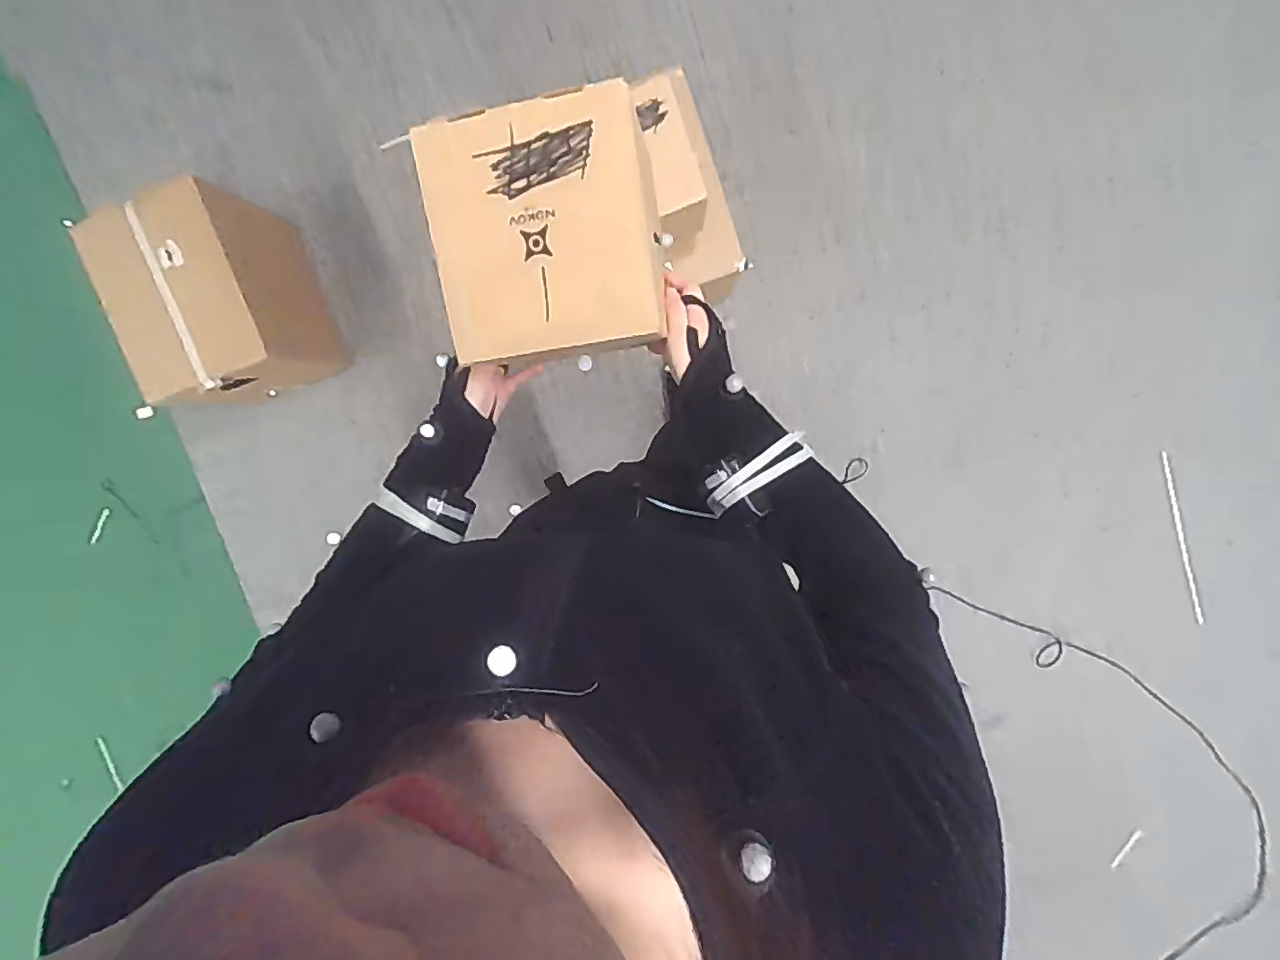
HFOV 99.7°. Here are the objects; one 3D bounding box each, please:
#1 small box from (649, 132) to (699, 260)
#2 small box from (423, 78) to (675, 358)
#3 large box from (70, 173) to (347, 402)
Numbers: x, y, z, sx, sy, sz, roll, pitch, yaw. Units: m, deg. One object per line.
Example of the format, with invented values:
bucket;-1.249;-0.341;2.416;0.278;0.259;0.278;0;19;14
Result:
small box;-0.002;-0.495;1.002;0.179;0.176;0.168;-20;97;8
small box;-0.062;-0.208;0.485;0.168;0.176;0.179;-7;102;9
large box;-1.002;-0.427;1.306;0.320;0.320;0.408;-18;96;6
